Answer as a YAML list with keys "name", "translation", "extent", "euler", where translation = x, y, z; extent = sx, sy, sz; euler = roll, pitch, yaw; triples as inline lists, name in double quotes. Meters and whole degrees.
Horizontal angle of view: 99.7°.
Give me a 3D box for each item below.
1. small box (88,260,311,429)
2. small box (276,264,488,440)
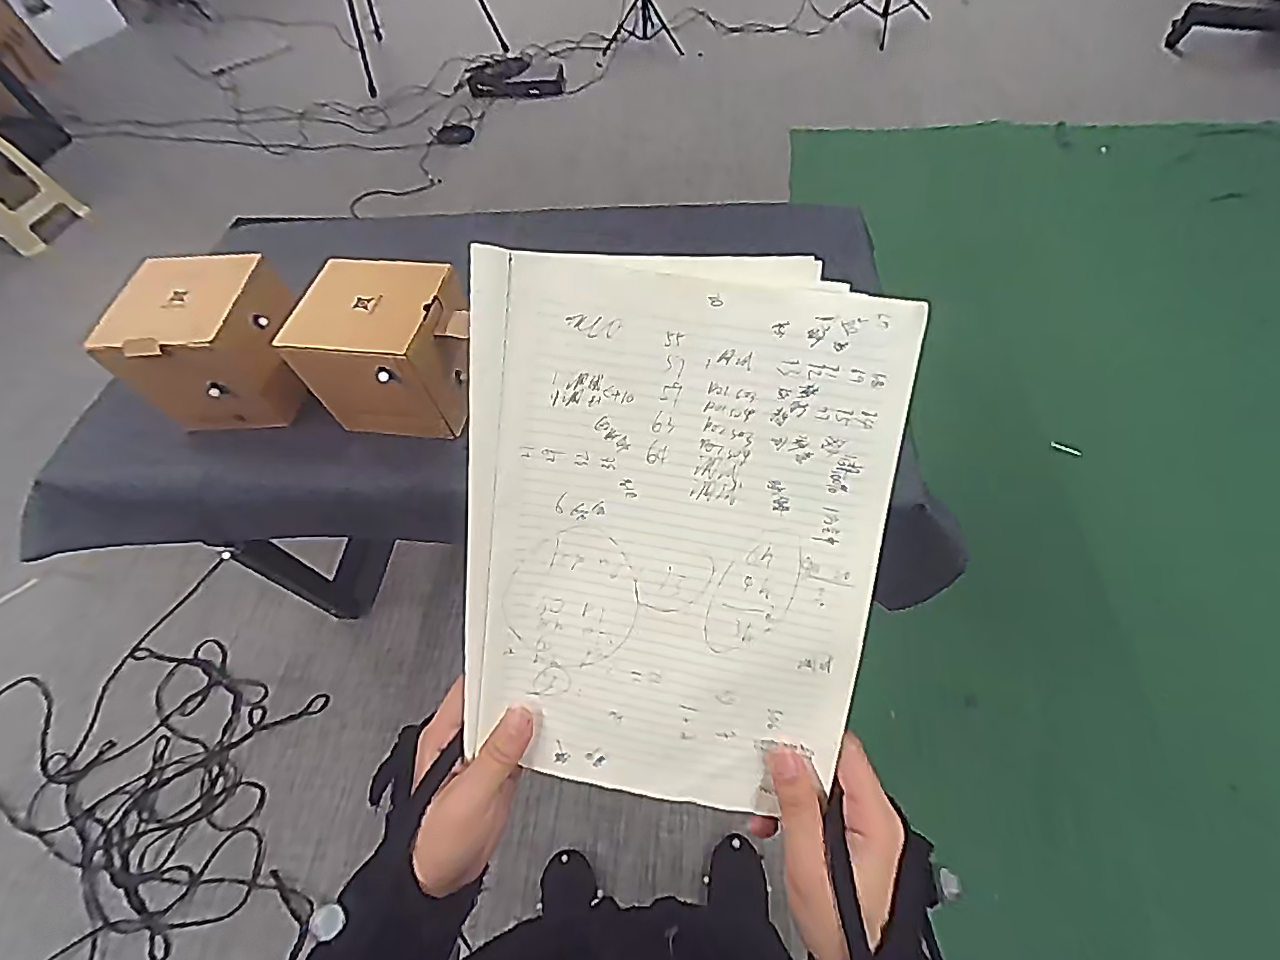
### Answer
- name: "small box"
  translation: [-0.591, -0.184, 0.769]
  extent: [0.168, 0.176, 0.179]
  euler: [-2, 56, 2]
- name: "small box"
  translation: [-0.334, -0.170, 0.740]
  extent: [0.179, 0.176, 0.168]
  euler: [5, 58, 7]
